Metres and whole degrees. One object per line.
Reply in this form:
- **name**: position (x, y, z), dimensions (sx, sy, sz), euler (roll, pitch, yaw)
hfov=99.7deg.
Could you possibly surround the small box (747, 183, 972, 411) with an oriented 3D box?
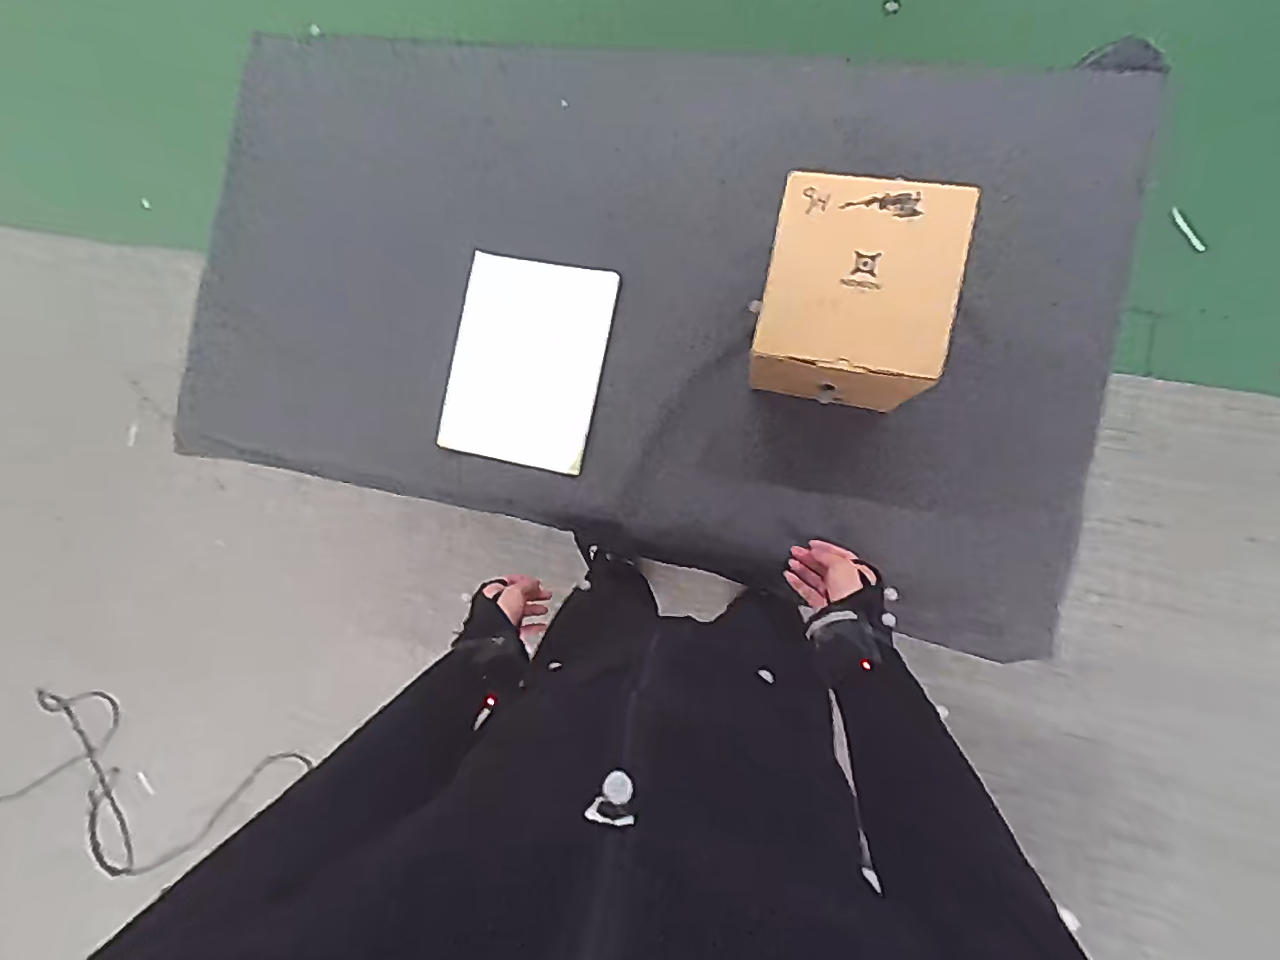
- **small box**: position (0.213, -0.177, 0.572), dimensions (0.168, 0.176, 0.179), euler (12, 92, 10)
